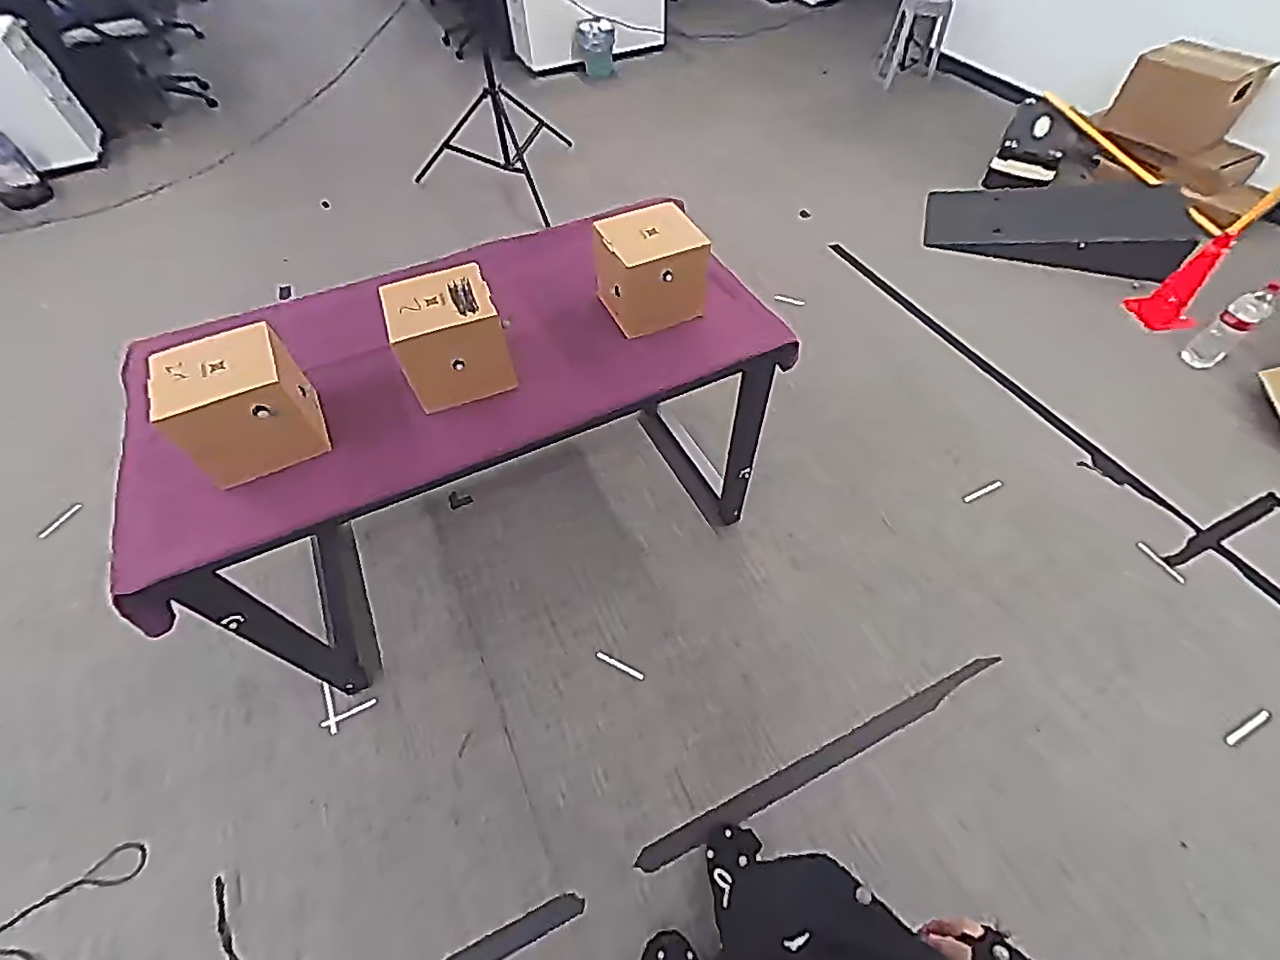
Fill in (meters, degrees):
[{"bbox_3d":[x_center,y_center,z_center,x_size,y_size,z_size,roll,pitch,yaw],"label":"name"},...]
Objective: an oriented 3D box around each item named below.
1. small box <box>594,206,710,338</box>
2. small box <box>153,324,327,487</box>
[{"bbox_3d":[0.023,-0.411,1.081,0.179,0.176,0.168,-21,57,-14],"label":"small box"},{"bbox_3d":[-0.644,-0.119,0.889,0.179,0.176,0.168,-25,56,-15],"label":"small box"}]
